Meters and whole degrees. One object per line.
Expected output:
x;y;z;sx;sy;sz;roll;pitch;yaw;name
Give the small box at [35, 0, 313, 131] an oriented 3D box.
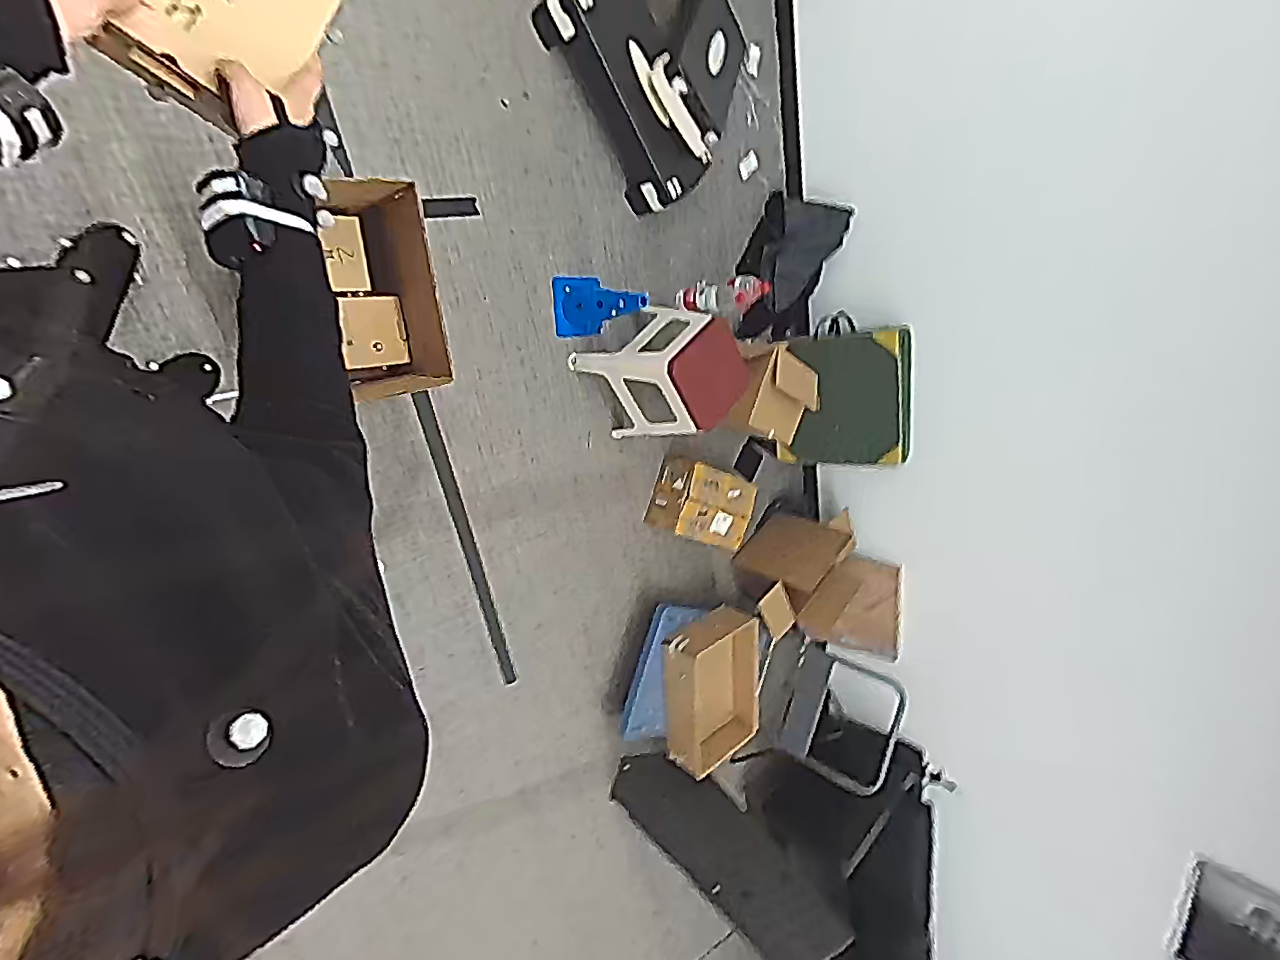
-0.423;-0.460;0.495;0.168;0.176;0.179;24;93;-47;small box
